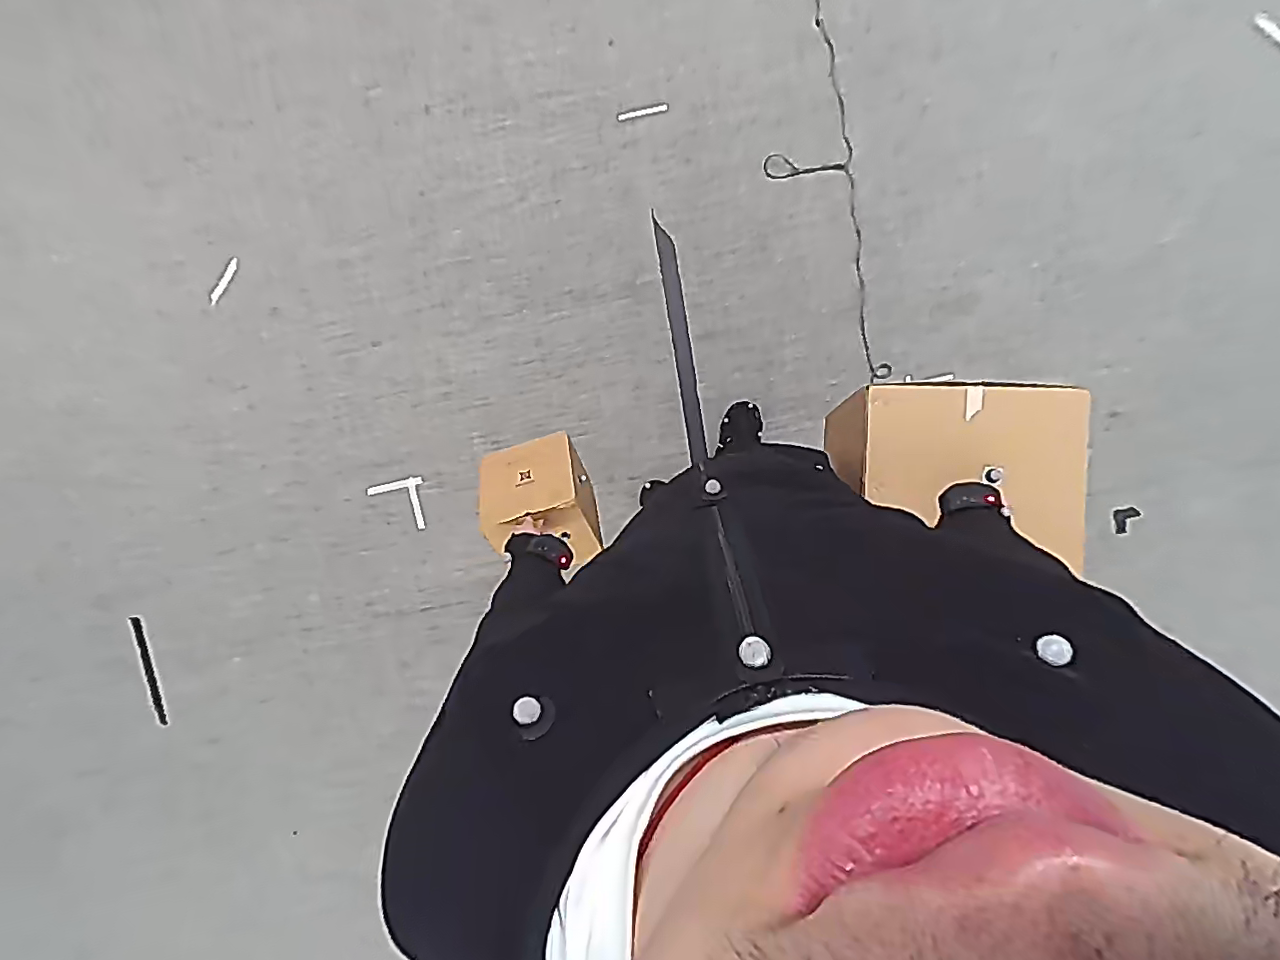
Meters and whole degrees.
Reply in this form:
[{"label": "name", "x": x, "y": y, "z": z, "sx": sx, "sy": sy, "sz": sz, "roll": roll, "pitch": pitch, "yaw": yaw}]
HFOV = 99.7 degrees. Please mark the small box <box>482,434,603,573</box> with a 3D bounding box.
[{"label": "small box", "x": -0.174, "y": 0.051, "z": 0.988, "sx": 0.168, "sy": 0.179, "sz": 0.176, "roll": -17, "pitch": 137, "yaw": 2}]
